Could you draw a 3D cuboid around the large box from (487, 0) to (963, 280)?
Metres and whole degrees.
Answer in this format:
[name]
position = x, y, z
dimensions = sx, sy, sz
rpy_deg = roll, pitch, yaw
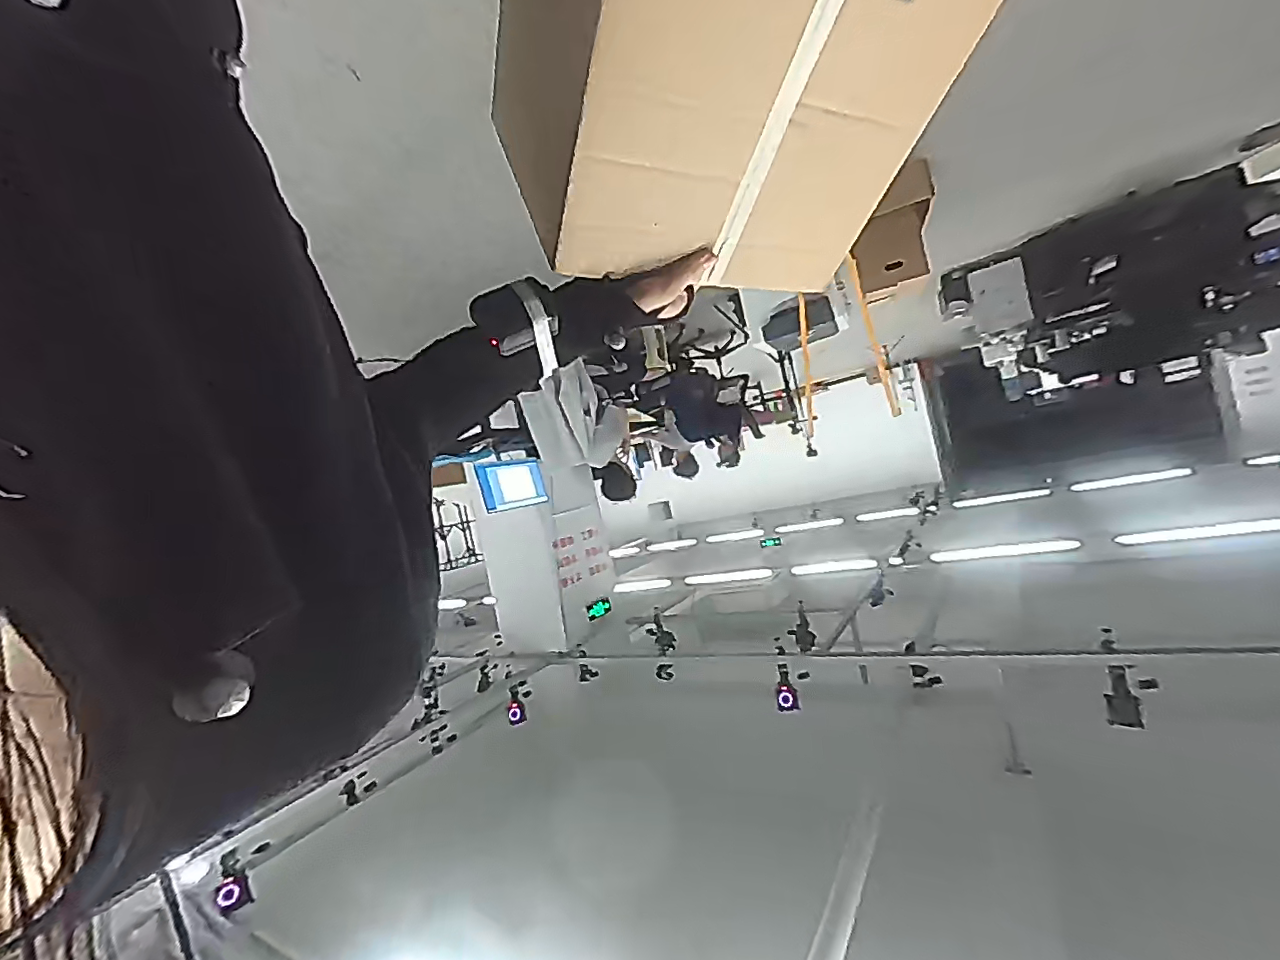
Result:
[large box]
position = 0.052, -0.445, 0.473
dimensions = 0.320, 0.320, 0.408
rpy_deg = -6, 145, -25
